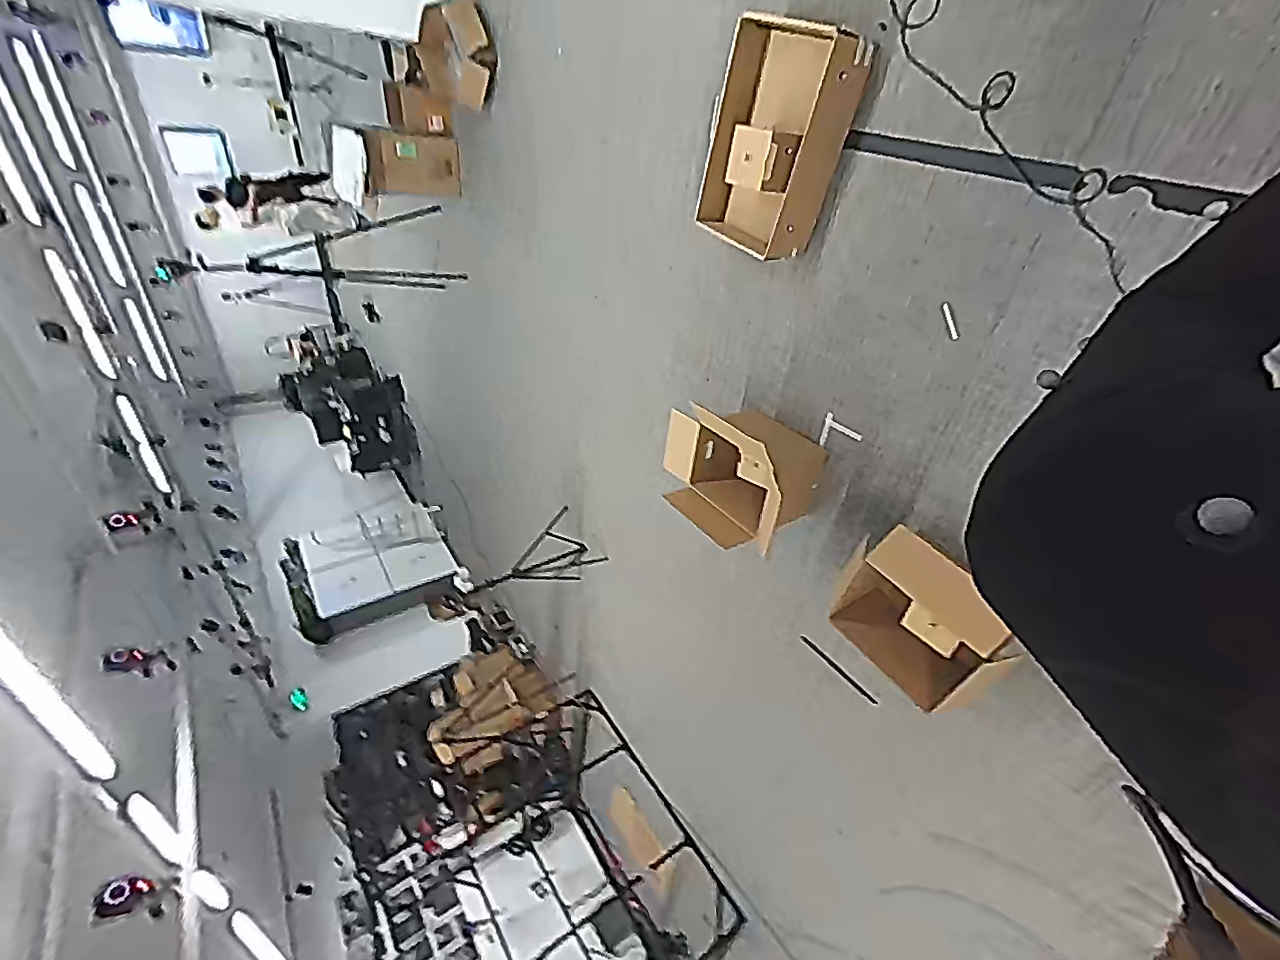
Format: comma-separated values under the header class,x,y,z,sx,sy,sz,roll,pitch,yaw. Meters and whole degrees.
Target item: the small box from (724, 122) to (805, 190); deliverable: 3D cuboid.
class,x,y,z,sx,sy,sz,roll,pitch,yaw
small box,0.408,-1.055,1.765,0.179,0.176,0.168,43,137,39
